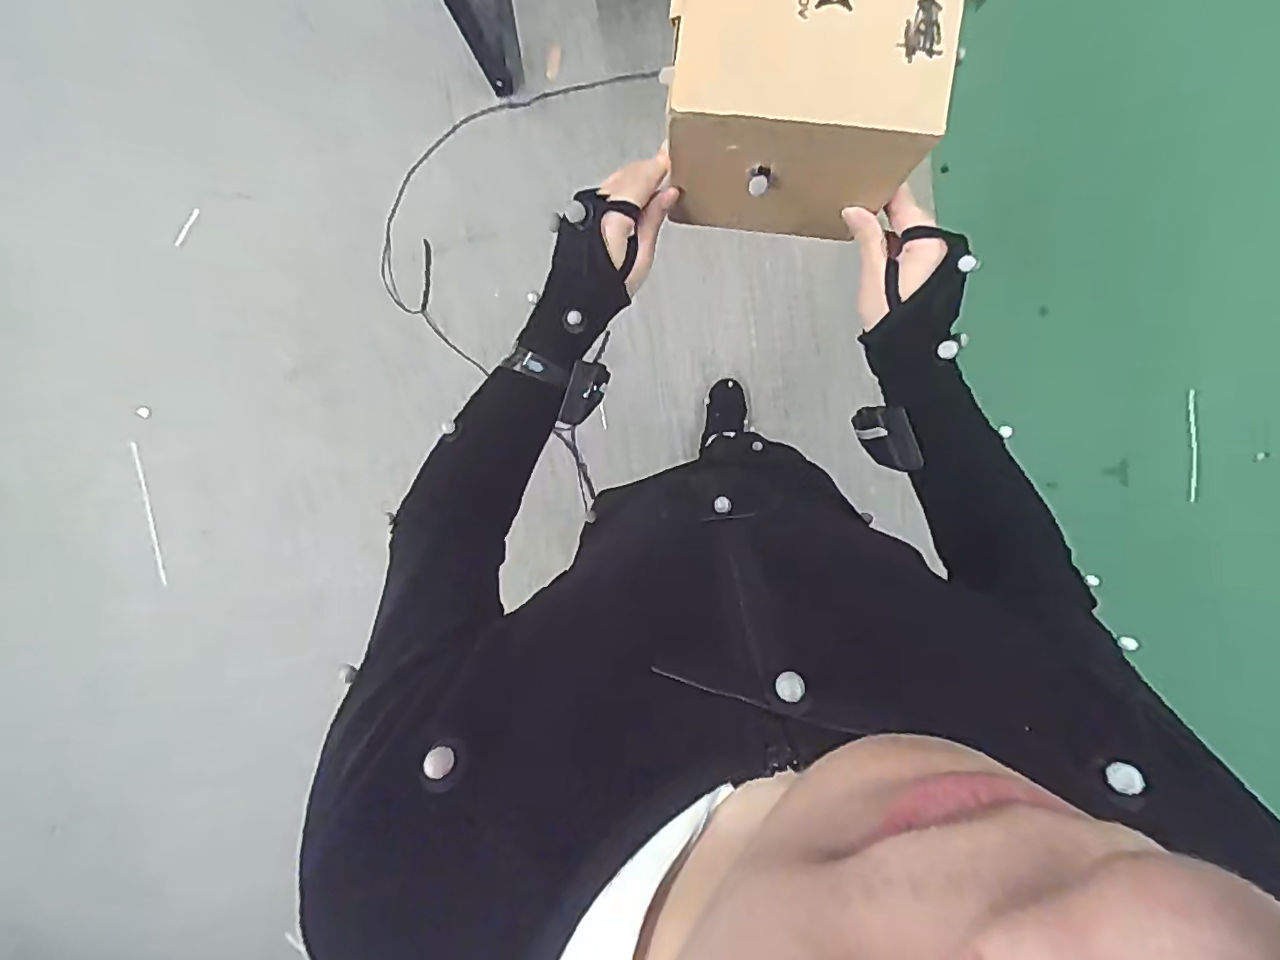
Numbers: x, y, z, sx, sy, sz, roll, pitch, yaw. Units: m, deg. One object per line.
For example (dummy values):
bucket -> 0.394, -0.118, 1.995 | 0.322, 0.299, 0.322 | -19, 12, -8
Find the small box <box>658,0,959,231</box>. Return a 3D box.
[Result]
small box -> 0.114, -0.307, 0.409 | 0.179, 0.176, 0.168 | 7, 93, 5
